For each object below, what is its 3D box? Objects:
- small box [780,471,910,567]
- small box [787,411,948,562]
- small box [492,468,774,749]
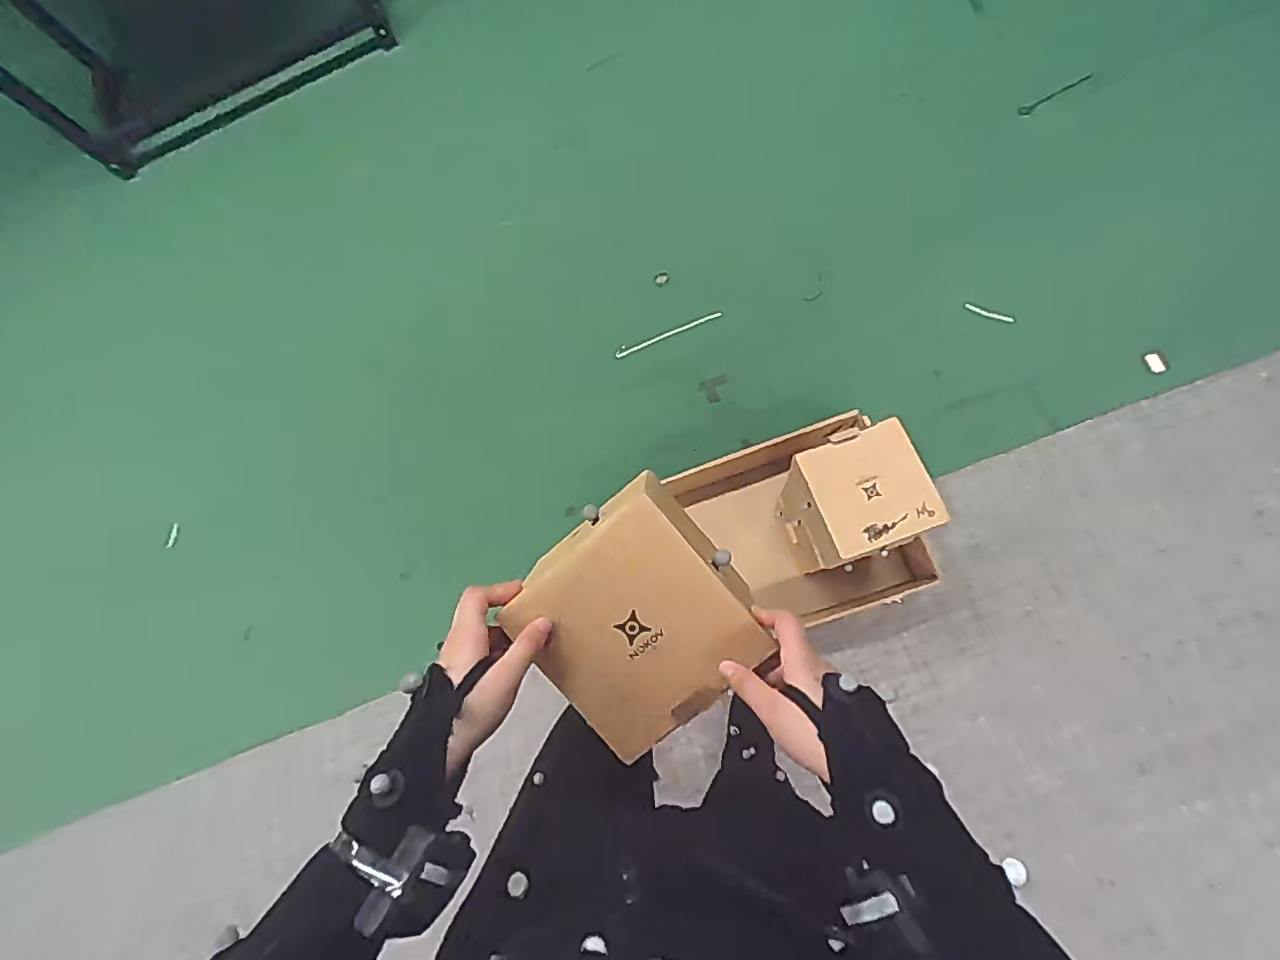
[{"bbox_3d":[0.376,0.057,1.031,0.168,0.176,0.179,-19,75,6],"label":"small box"},{"bbox_3d":[0.348,0.019,0.873,0.168,0.176,0.179,-22,73,5],"label":"small box"},{"bbox_3d":[-0.005,0.102,0.518,0.168,0.176,0.179,-40,95,6],"label":"small box"}]
